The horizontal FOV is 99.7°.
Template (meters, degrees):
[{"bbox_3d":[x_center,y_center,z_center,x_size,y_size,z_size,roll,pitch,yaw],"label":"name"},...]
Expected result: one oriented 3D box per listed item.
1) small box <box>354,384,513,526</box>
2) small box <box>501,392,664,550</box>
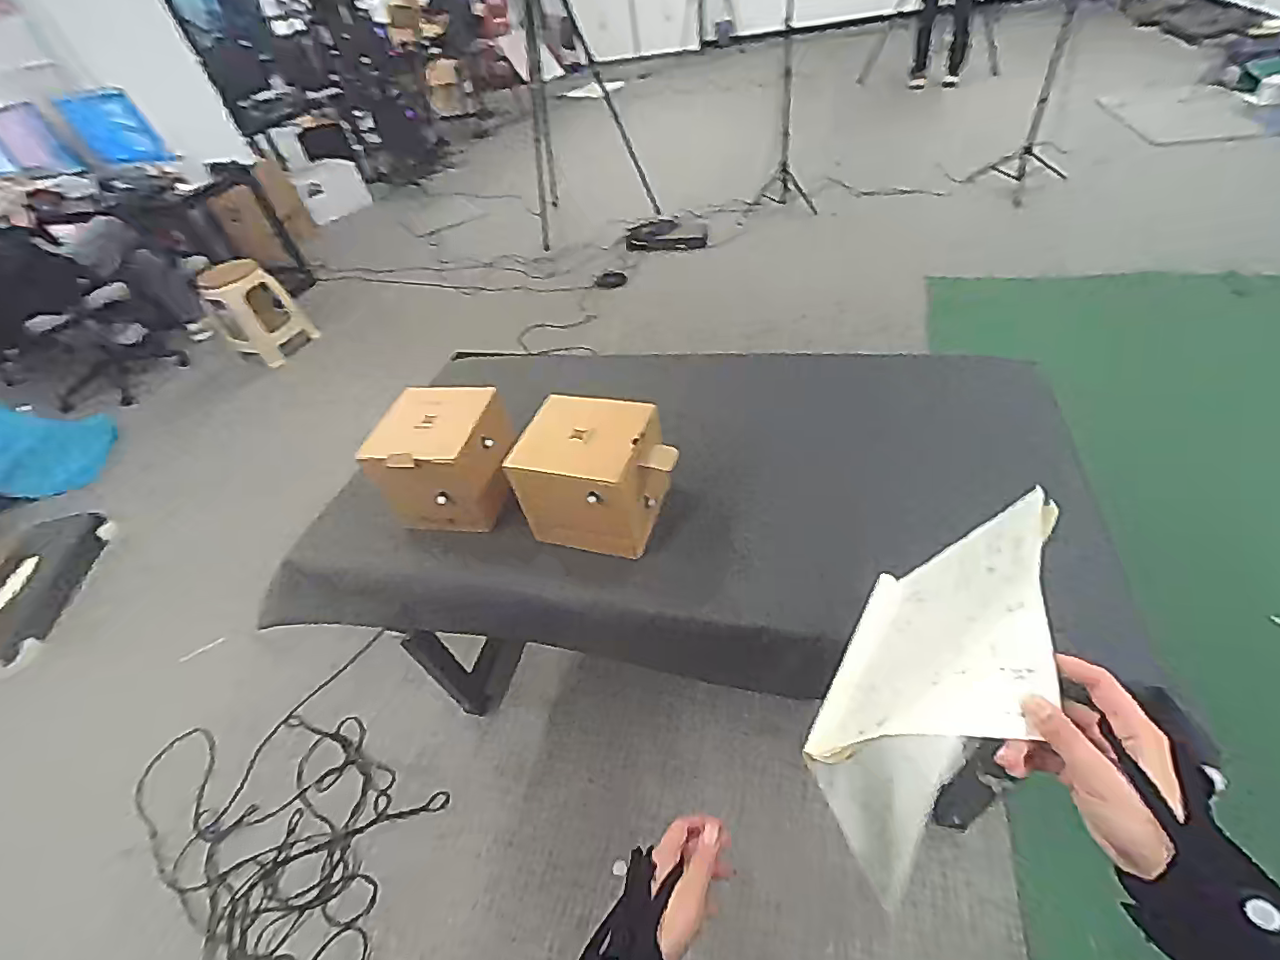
[{"bbox_3d":[-0.321,-0.040,0.895,0.168,0.176,0.179,2,46,12],"label":"small box"},{"bbox_3d":[-0.075,-0.014,0.819,0.179,0.176,0.168,8,48,18],"label":"small box"}]
